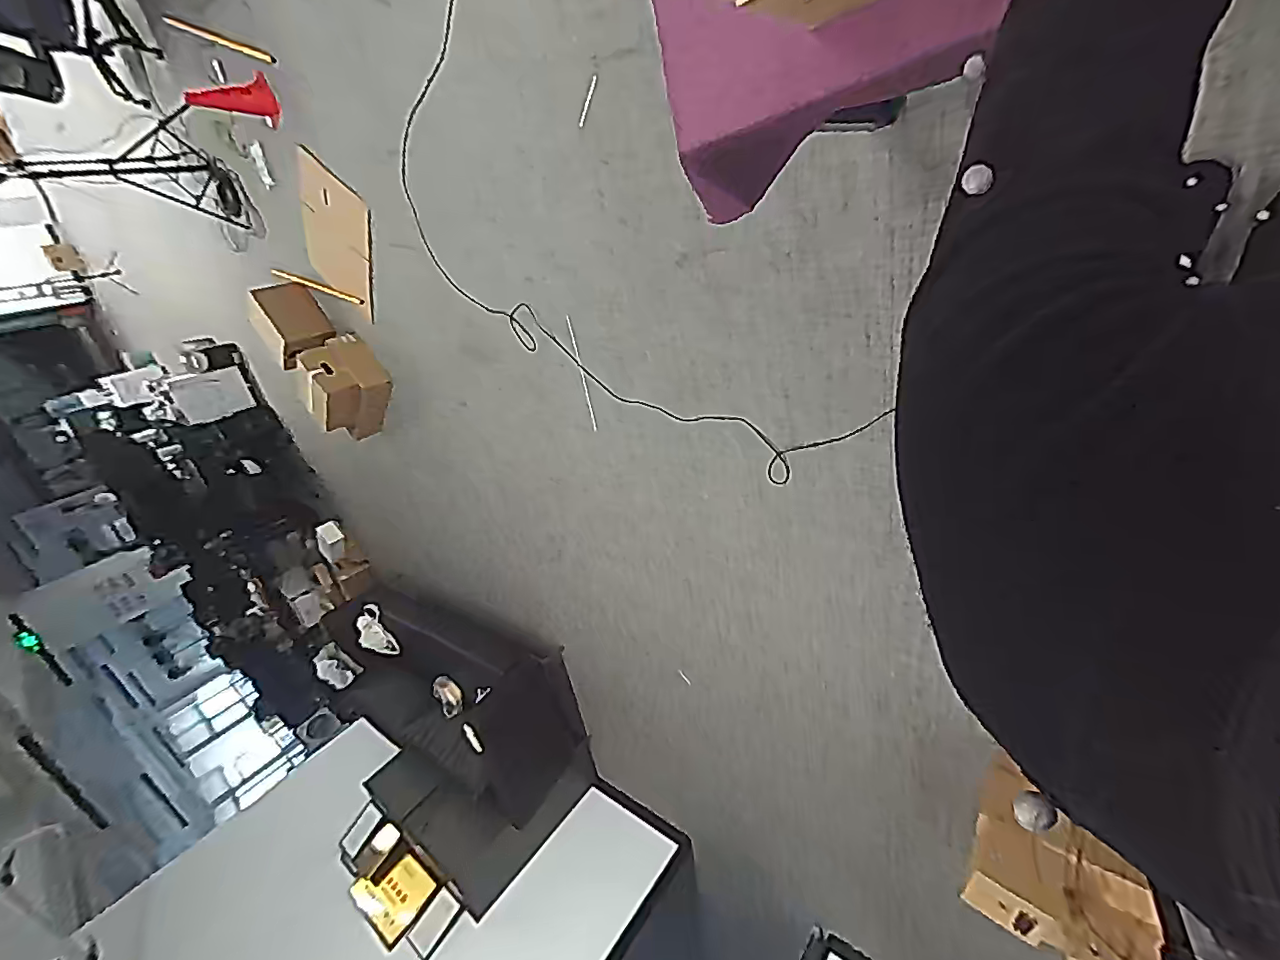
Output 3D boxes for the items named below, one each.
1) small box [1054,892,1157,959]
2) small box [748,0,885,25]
[{"bbox_3d":[1.153,1.179,1.344,0.179,0.176,0.168,9,124,40],"label":"small box"},{"bbox_3d":[0.193,-0.550,0.480,0.168,0.176,0.179,10,121,40],"label":"small box"}]
